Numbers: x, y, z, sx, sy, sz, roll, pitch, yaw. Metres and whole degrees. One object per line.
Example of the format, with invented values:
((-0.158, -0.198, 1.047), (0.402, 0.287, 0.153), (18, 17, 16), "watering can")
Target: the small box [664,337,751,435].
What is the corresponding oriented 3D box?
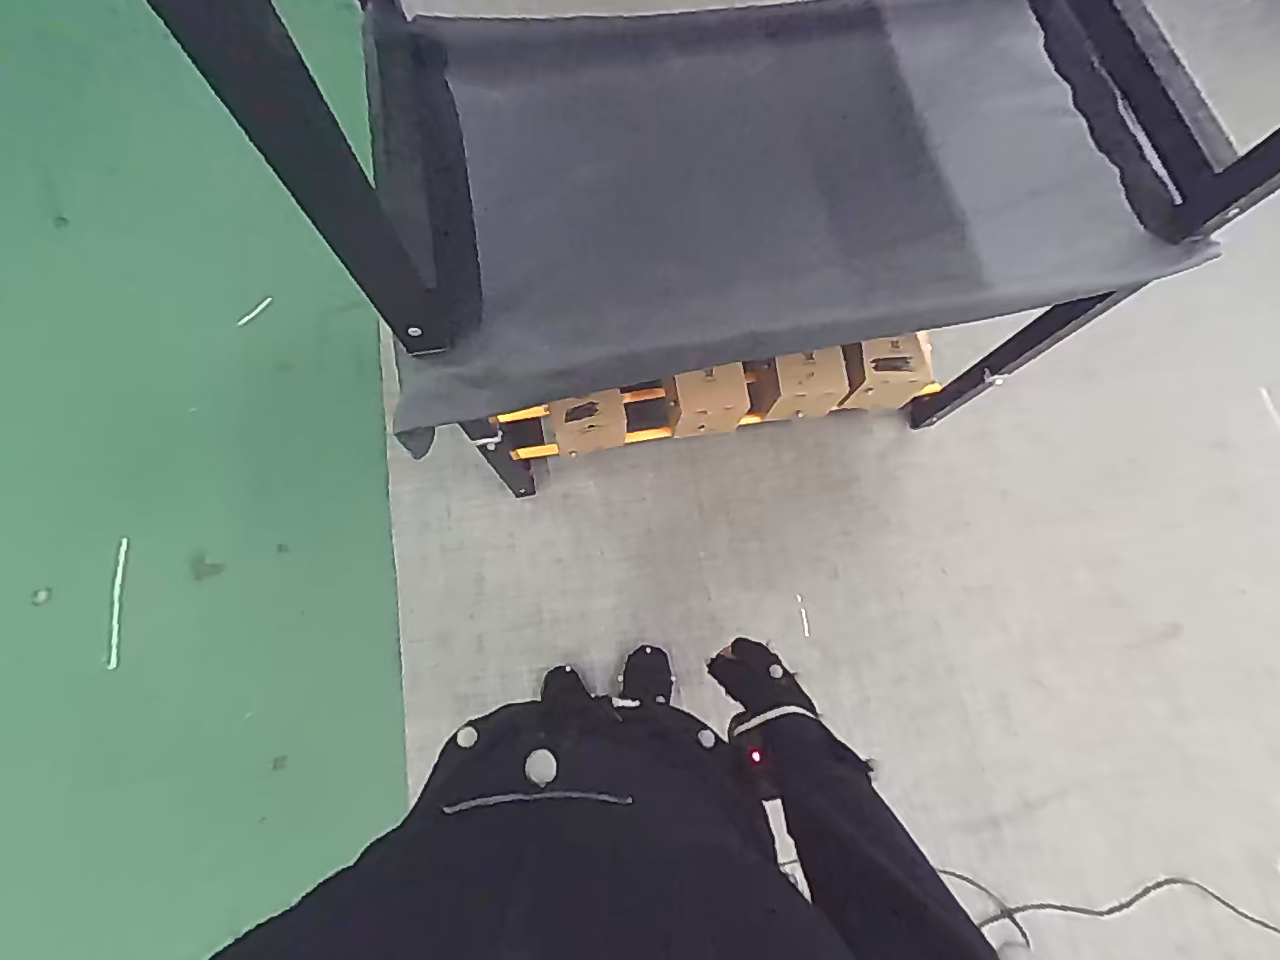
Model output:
((0.157, -0.225, 1.324), (0.168, 0.176, 0.179), (-8, 77, -4), "small box")
